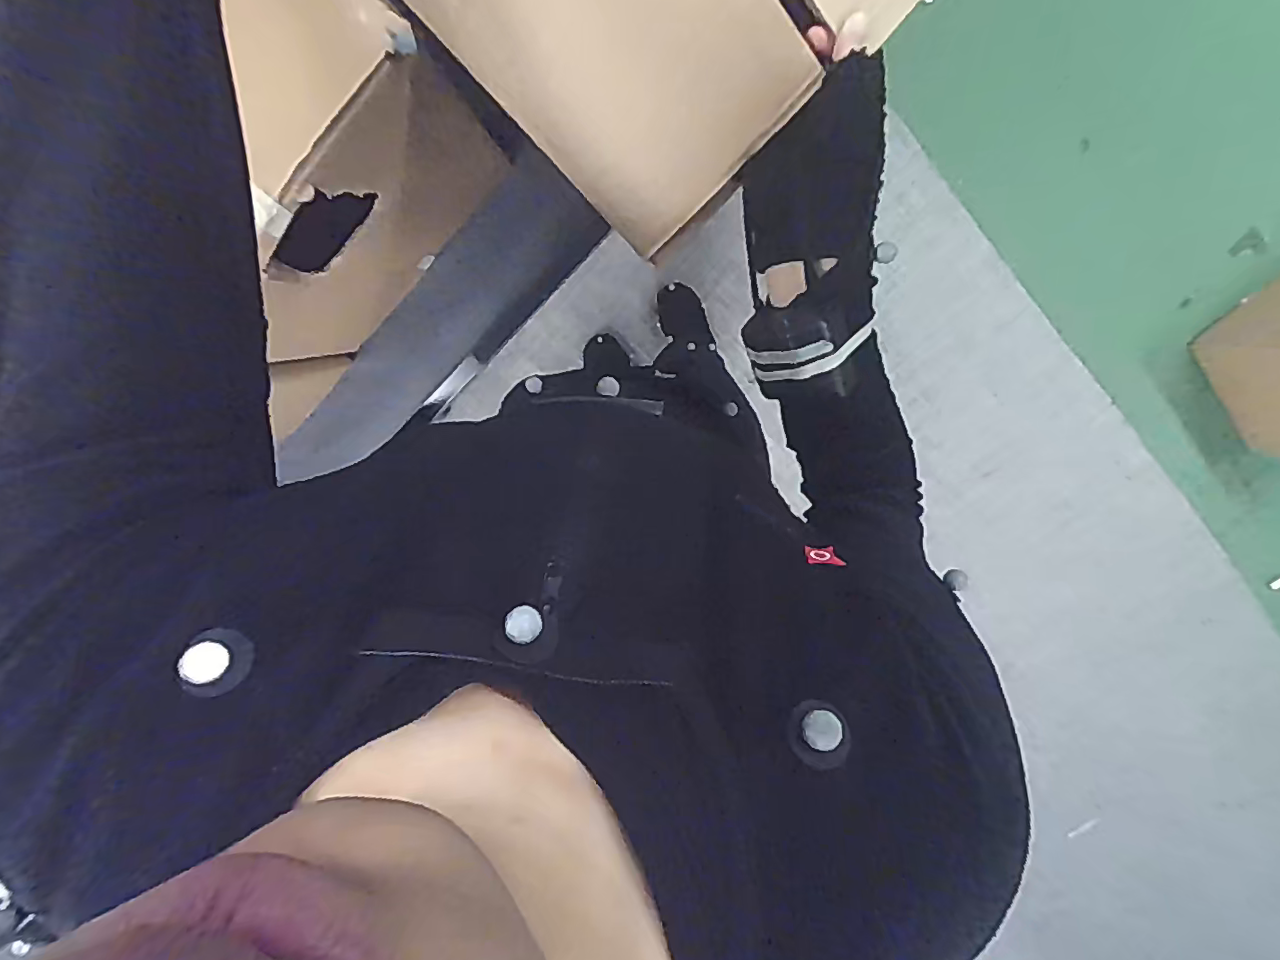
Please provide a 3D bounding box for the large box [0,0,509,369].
[{"bbox_3d":[-0.390,-0.358,0.478,0.408,0.320,0.320,43,102,-13],"label":"large box"}]
